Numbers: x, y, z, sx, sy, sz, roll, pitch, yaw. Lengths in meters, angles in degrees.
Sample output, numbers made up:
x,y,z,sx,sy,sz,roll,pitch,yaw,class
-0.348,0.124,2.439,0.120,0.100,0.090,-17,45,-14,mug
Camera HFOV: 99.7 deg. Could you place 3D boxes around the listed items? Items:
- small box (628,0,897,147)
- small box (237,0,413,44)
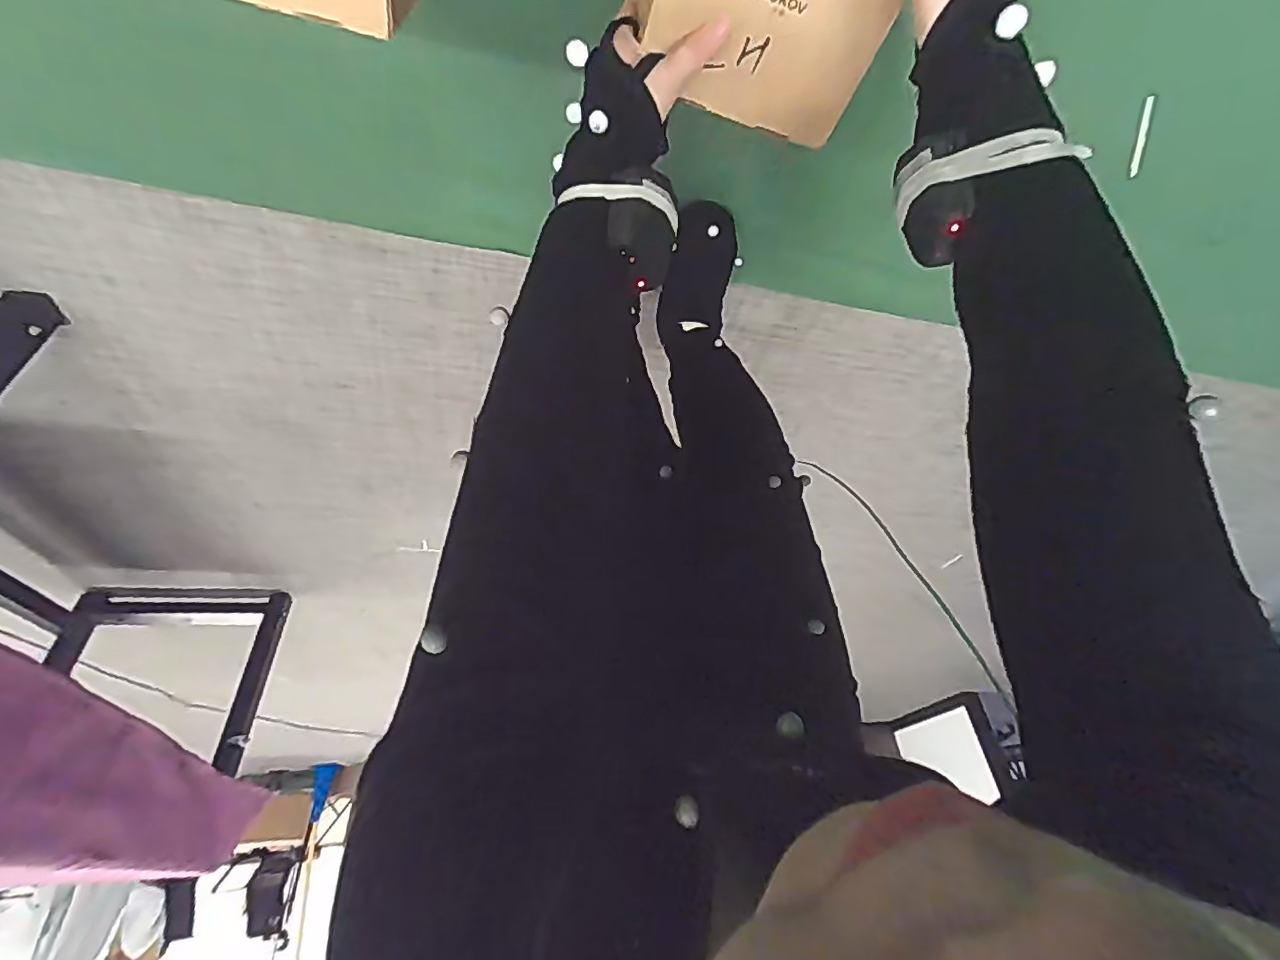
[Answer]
x,y,z,sx,sy,sz,roll,pitch,yaw,class
0.090,-0.399,0.402,0.168,0.176,0.179,9,144,-17,small box
-0.234,-0.426,0.336,0.168,0.176,0.179,7,143,-14,small box
